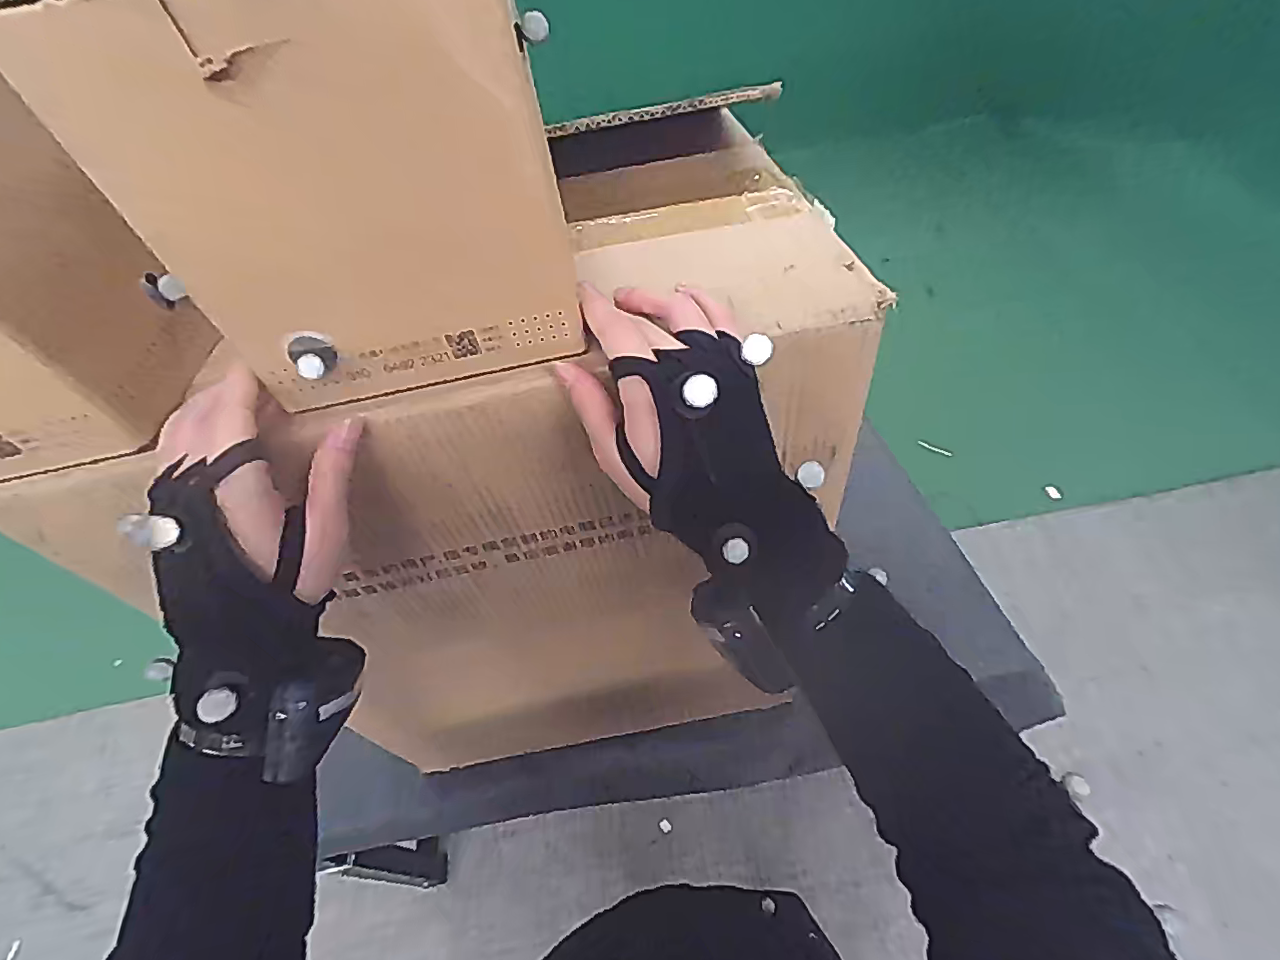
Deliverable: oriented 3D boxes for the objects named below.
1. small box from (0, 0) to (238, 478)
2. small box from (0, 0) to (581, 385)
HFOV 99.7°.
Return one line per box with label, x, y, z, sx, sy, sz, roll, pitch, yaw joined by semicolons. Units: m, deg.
small box;-0.357;-0.117;0.286;0.168;0.176;0.179;-12;49;3
small box;-0.131;-0.167;0.289;0.168;0.176;0.179;-11;48;-1
